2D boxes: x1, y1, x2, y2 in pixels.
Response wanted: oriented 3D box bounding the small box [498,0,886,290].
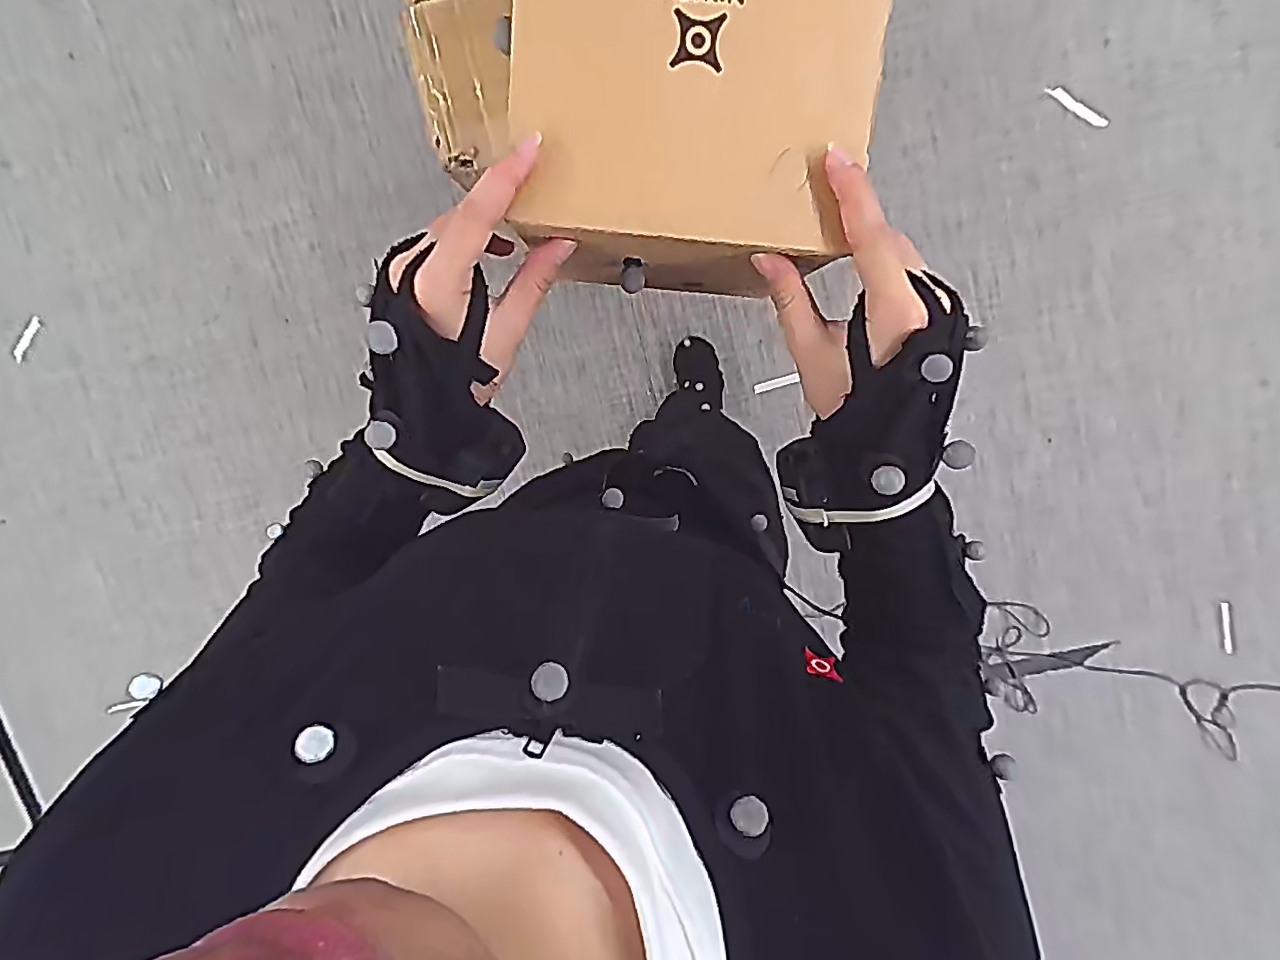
[{"bbox_3d":[0.024,-0.215,0.311,0.168,0.176,0.179,5,100,-1],"label":"small box"}]
